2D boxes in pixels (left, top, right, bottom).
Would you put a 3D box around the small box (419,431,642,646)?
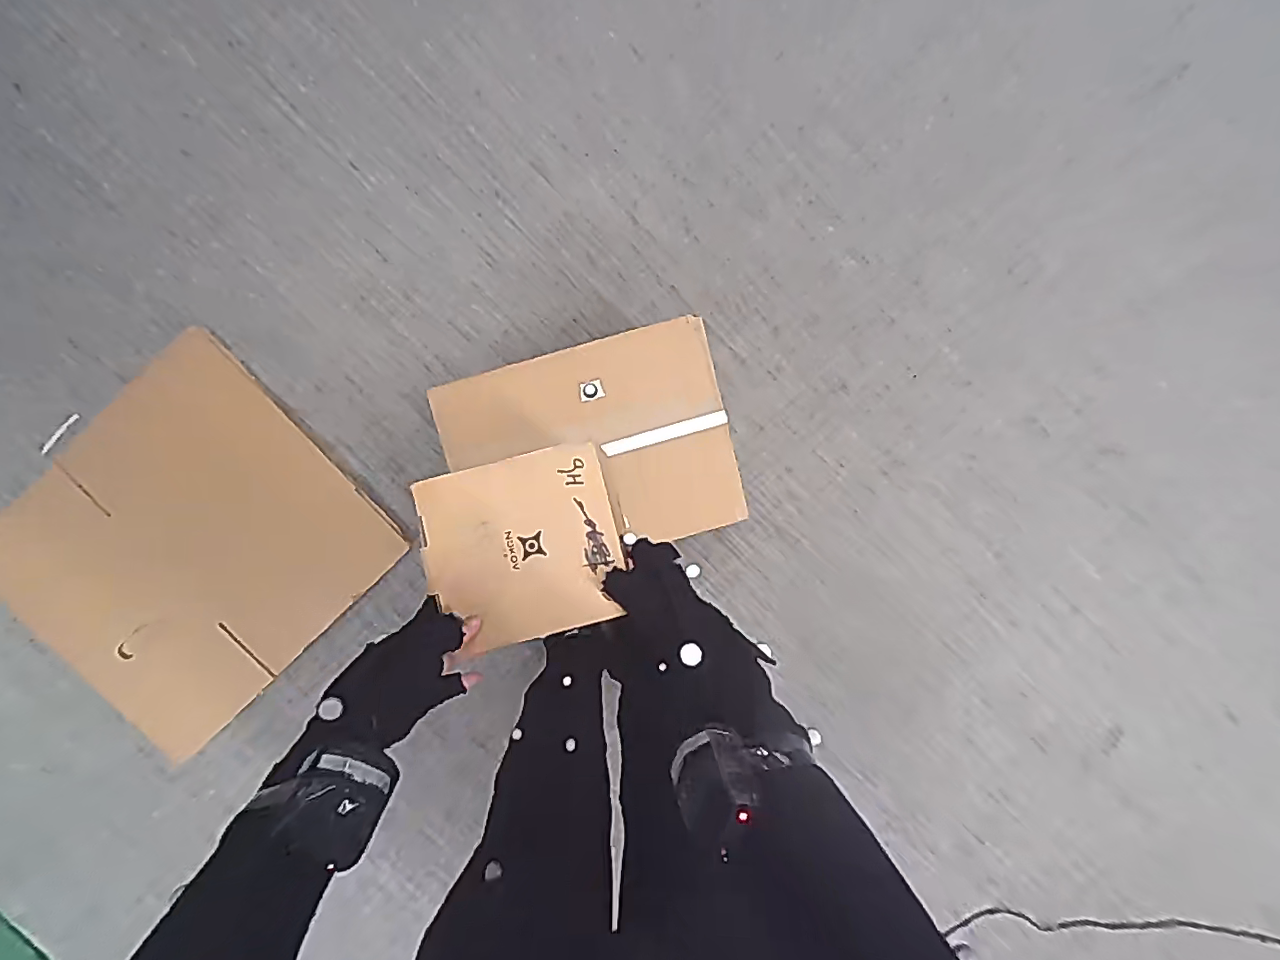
[{"bbox_3d":[-0.104,0.062,0.588,0.179,0.176,0.168,-18,85,0],"label":"small box"}]
